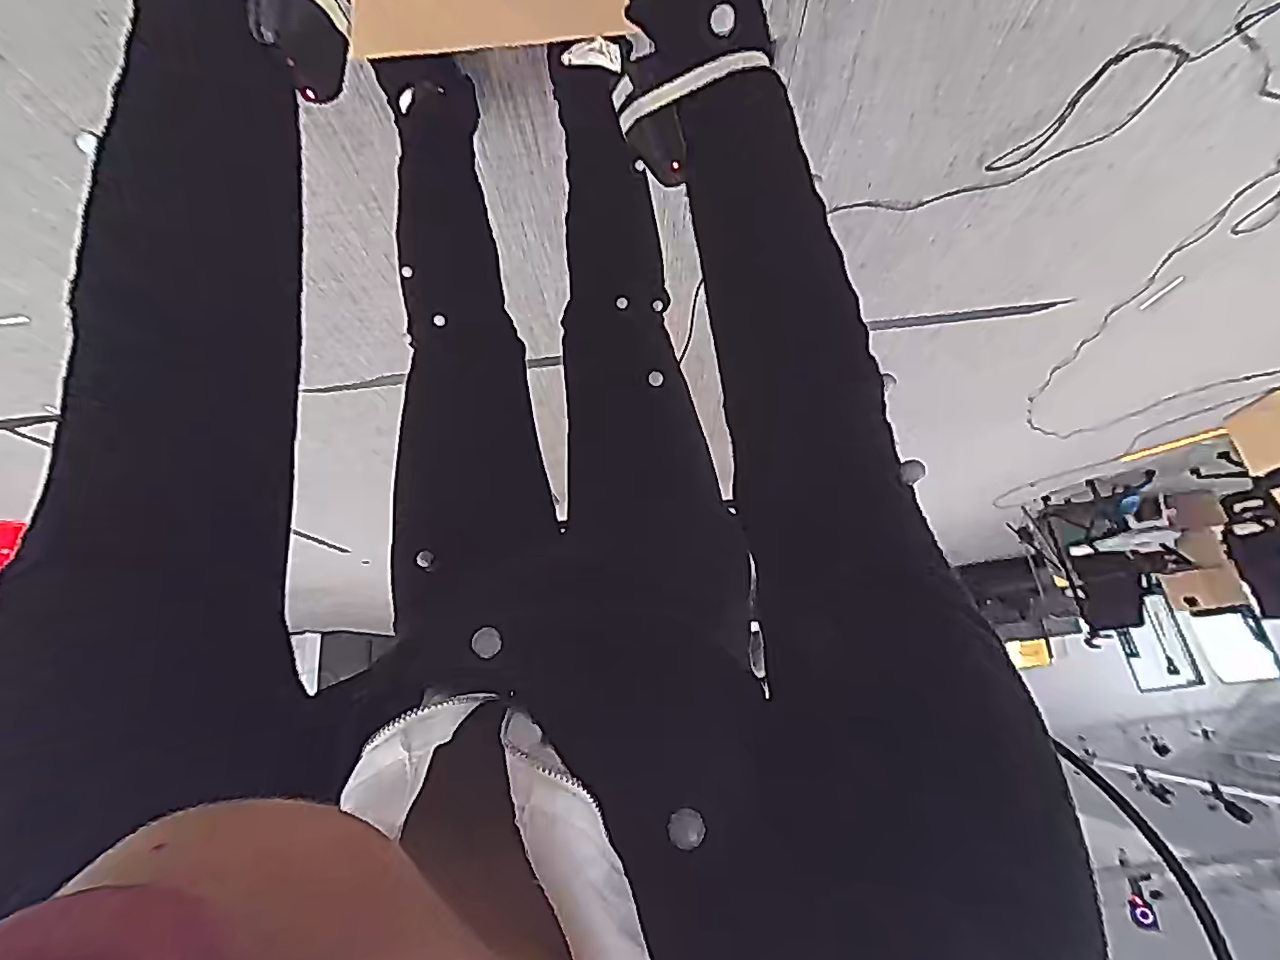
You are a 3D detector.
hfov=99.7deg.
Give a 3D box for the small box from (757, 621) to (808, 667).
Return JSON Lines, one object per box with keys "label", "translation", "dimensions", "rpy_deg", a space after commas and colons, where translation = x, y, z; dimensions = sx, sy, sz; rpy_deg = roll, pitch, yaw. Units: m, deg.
{"label": "small box", "translation": [0.597, 0.691, 2.289], "dimensions": [0.168, 0.176, 0.179], "rpy_deg": [-7, 161, 1]}
